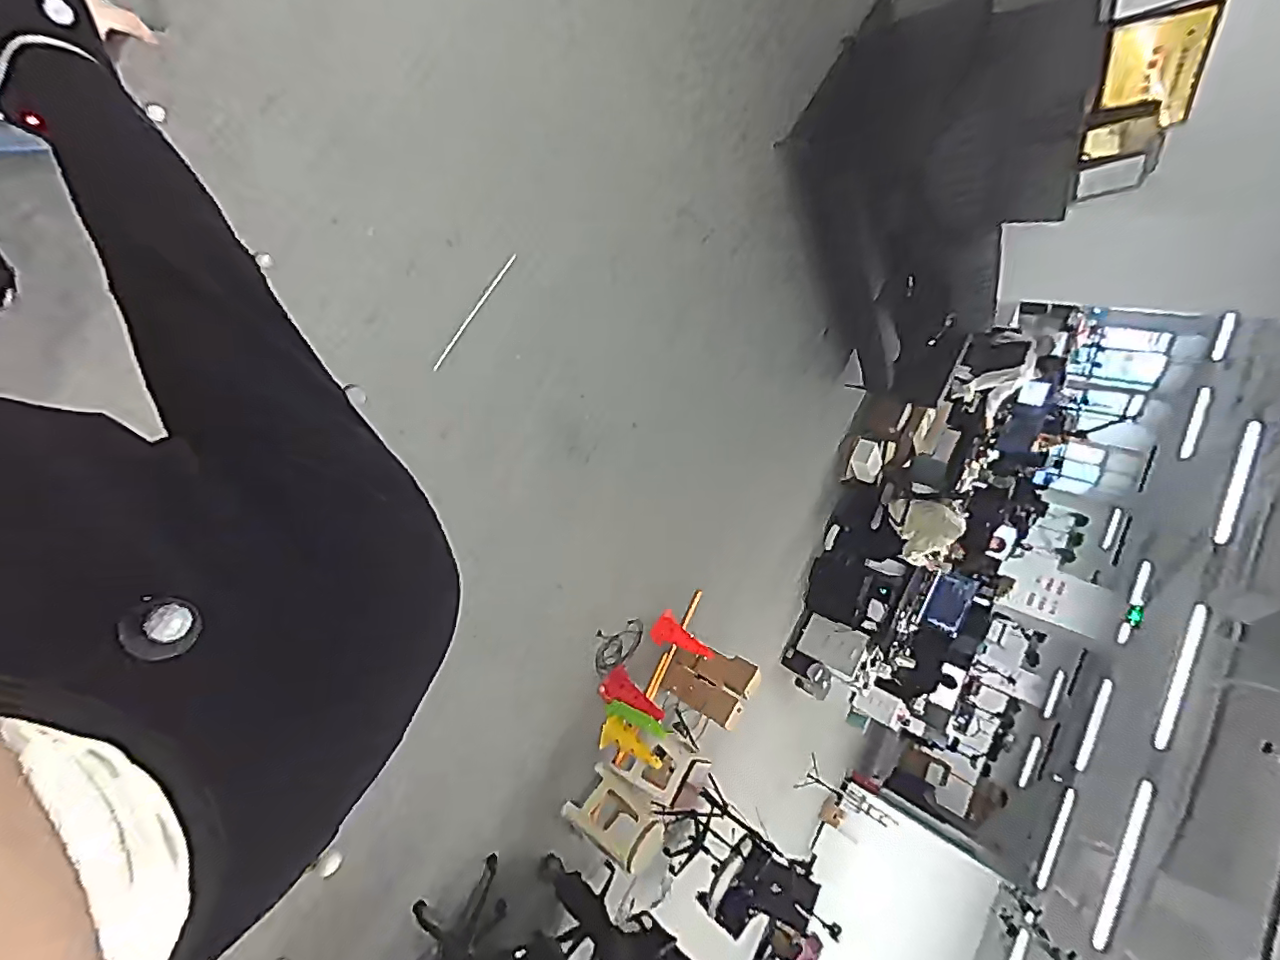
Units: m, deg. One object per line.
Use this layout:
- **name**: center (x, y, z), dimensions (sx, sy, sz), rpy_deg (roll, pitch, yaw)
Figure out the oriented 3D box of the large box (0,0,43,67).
- **large box**: center (-0.995, -0.735, 0.599), dimensions (0.320, 0.320, 0.408), rpy_deg (-32, 129, -39)
